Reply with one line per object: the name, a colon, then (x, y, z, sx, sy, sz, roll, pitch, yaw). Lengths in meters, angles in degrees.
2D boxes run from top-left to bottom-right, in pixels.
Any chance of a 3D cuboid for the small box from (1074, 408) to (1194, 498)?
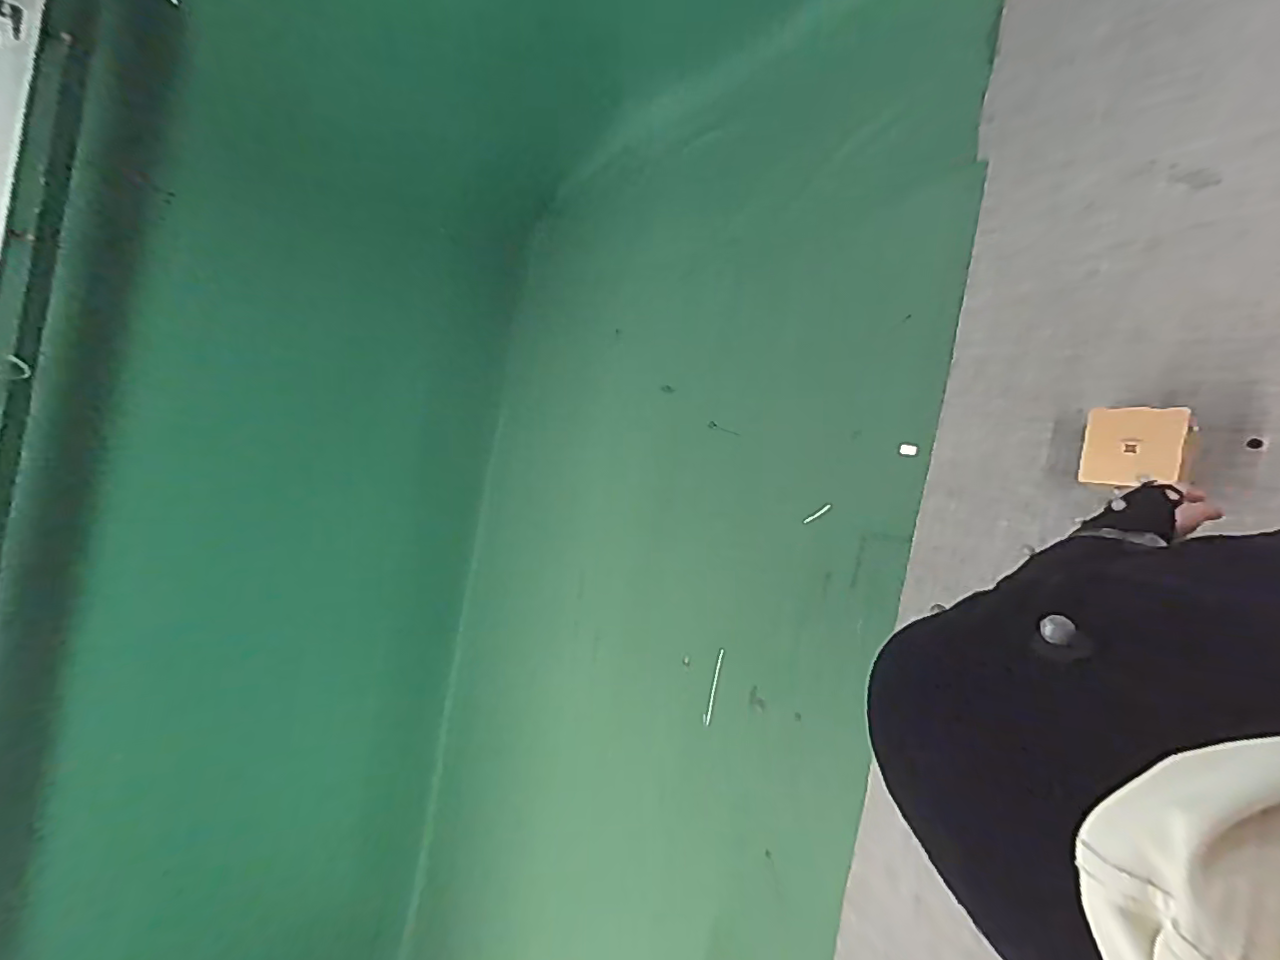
small box: (1.115, -0.059, 1.219, 0.168, 0.176, 0.179, 9, 88, 51)
